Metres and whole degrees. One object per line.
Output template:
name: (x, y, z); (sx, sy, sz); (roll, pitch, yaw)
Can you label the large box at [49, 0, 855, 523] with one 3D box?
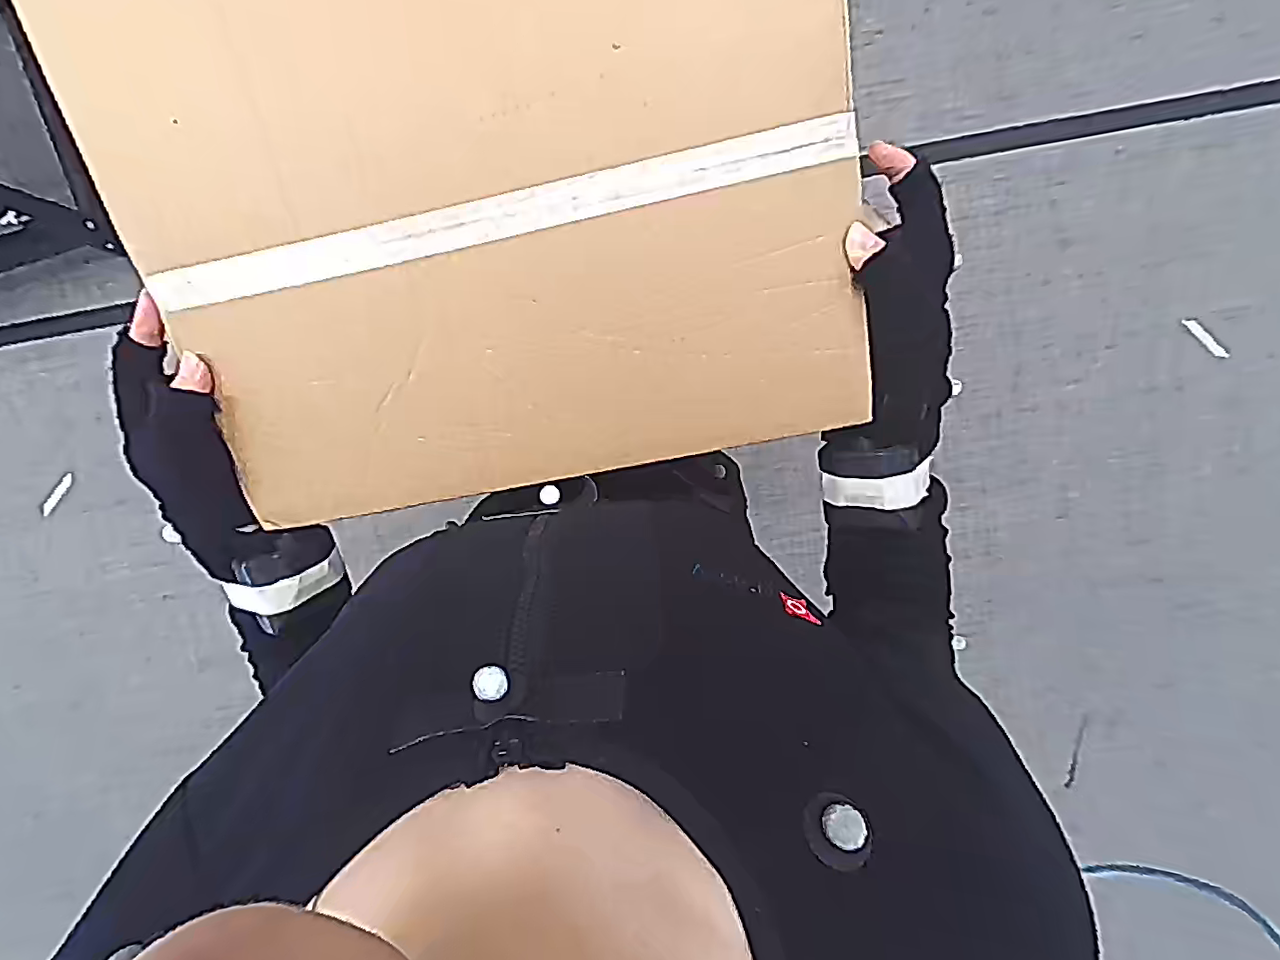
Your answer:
large box: (-0.082, -0.197, 0.452); (0.408, 0.320, 0.320); (-10, 108, 5)
